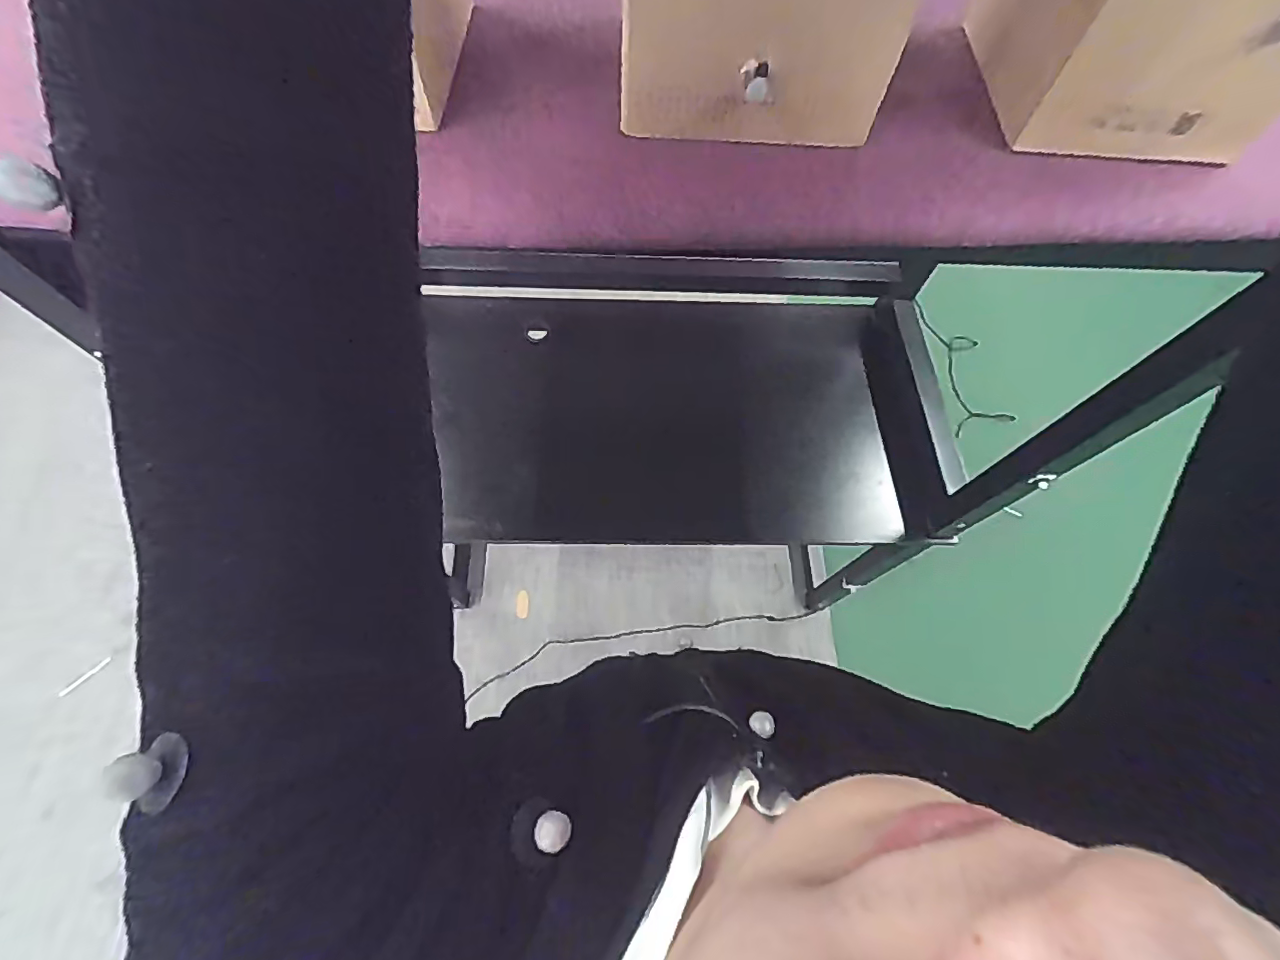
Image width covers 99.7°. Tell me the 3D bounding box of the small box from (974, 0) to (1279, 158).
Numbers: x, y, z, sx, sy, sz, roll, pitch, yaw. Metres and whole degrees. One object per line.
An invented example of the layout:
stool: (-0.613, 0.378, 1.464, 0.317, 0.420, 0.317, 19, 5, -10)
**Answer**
small box: (0.357, -0.342, 0.352, 0.168, 0.176, 0.179, 5, 64, 0)
